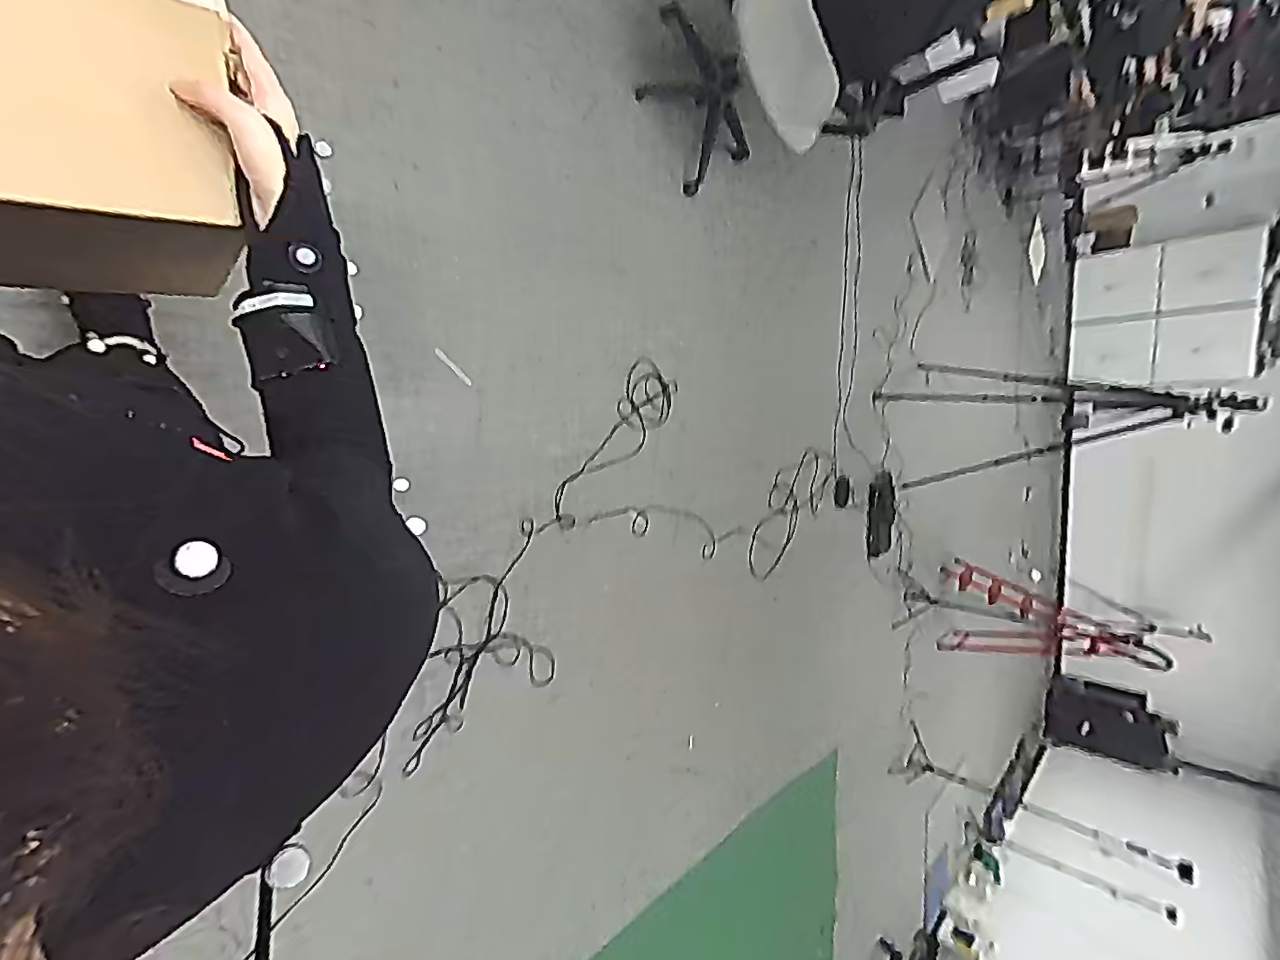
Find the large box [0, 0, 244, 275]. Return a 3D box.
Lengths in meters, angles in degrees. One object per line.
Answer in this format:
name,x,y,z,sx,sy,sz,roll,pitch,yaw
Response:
large box,-0.568,-0.338,0.383,0.408,0.320,0.320,-13,103,-40
